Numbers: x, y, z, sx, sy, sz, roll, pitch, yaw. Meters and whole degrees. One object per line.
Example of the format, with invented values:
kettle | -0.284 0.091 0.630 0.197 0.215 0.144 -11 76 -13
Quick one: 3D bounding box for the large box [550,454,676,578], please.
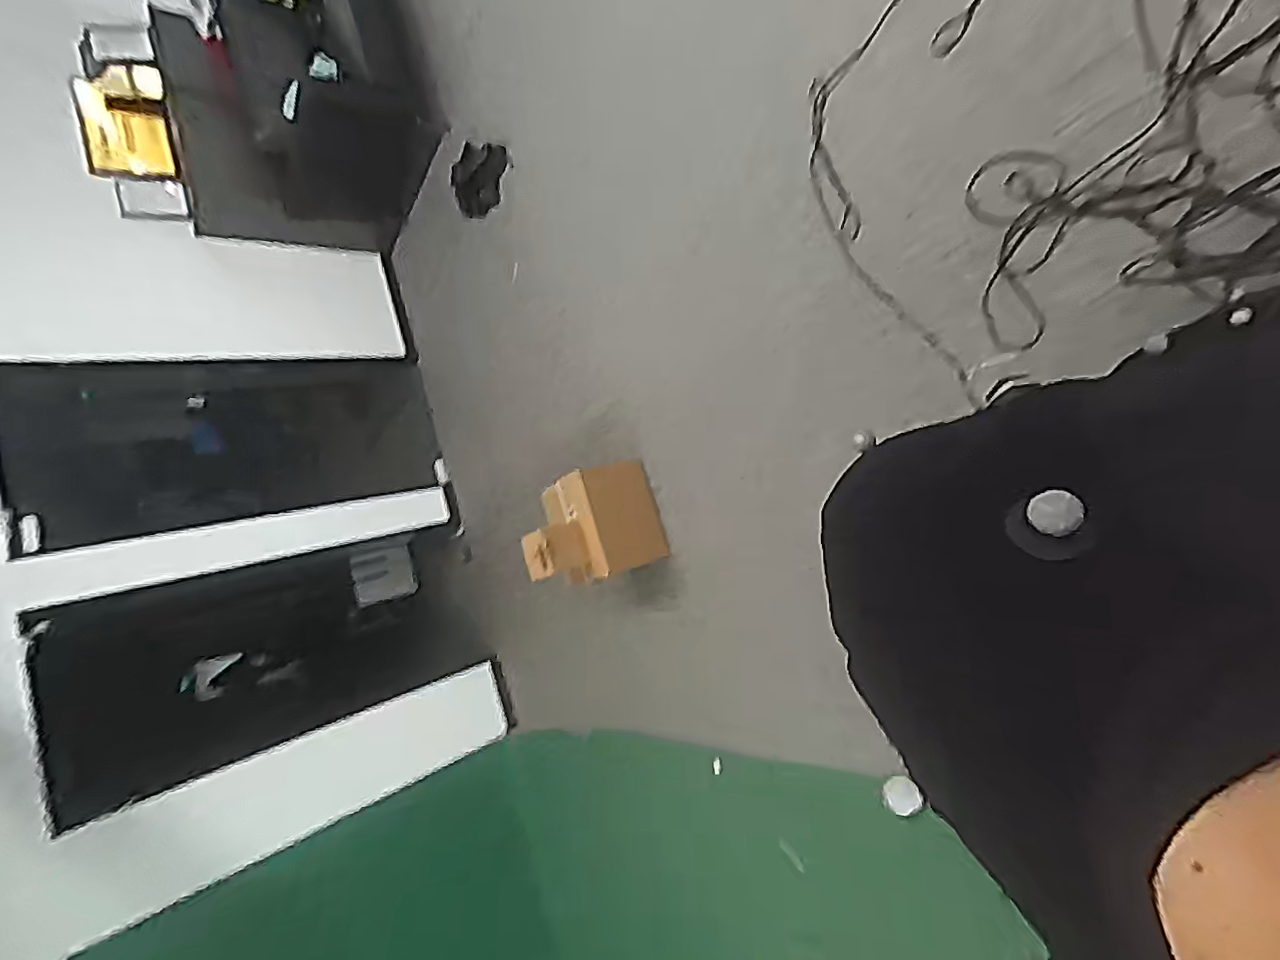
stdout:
large box | -0.111 0.142 2.156 0.320 0.320 0.408 -26 78 49
